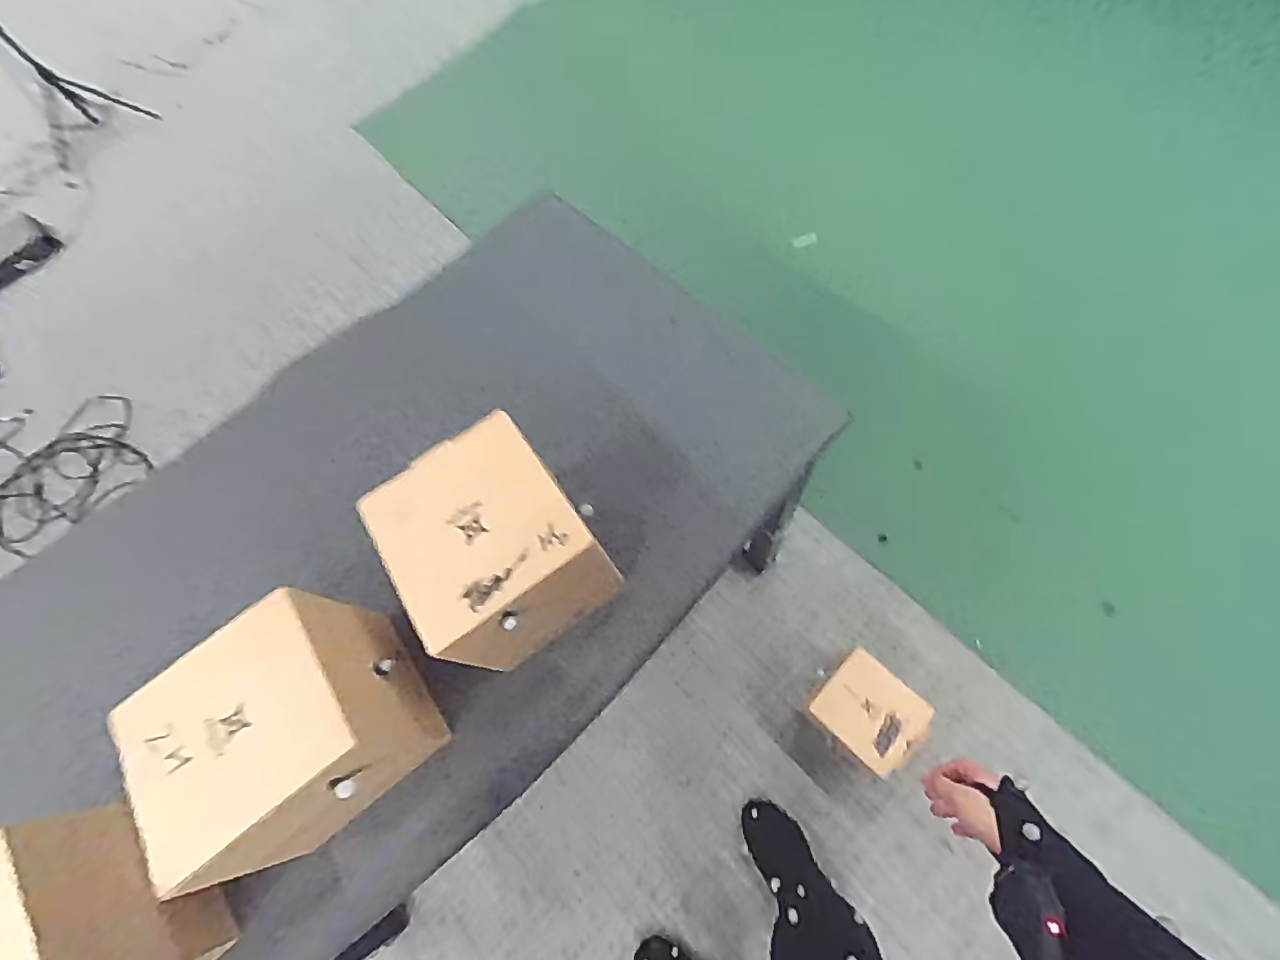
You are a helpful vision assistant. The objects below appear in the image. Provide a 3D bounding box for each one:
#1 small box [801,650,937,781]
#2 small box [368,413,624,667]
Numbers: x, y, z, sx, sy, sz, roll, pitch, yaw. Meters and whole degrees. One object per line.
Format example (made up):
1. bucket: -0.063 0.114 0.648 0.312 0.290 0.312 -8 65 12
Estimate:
1. small box: 0.457 0.475 1.107 0.168 0.176 0.179 -44 68 -10
2. small box: -0.137 0.071 0.562 0.168 0.176 0.179 -34 65 -6
